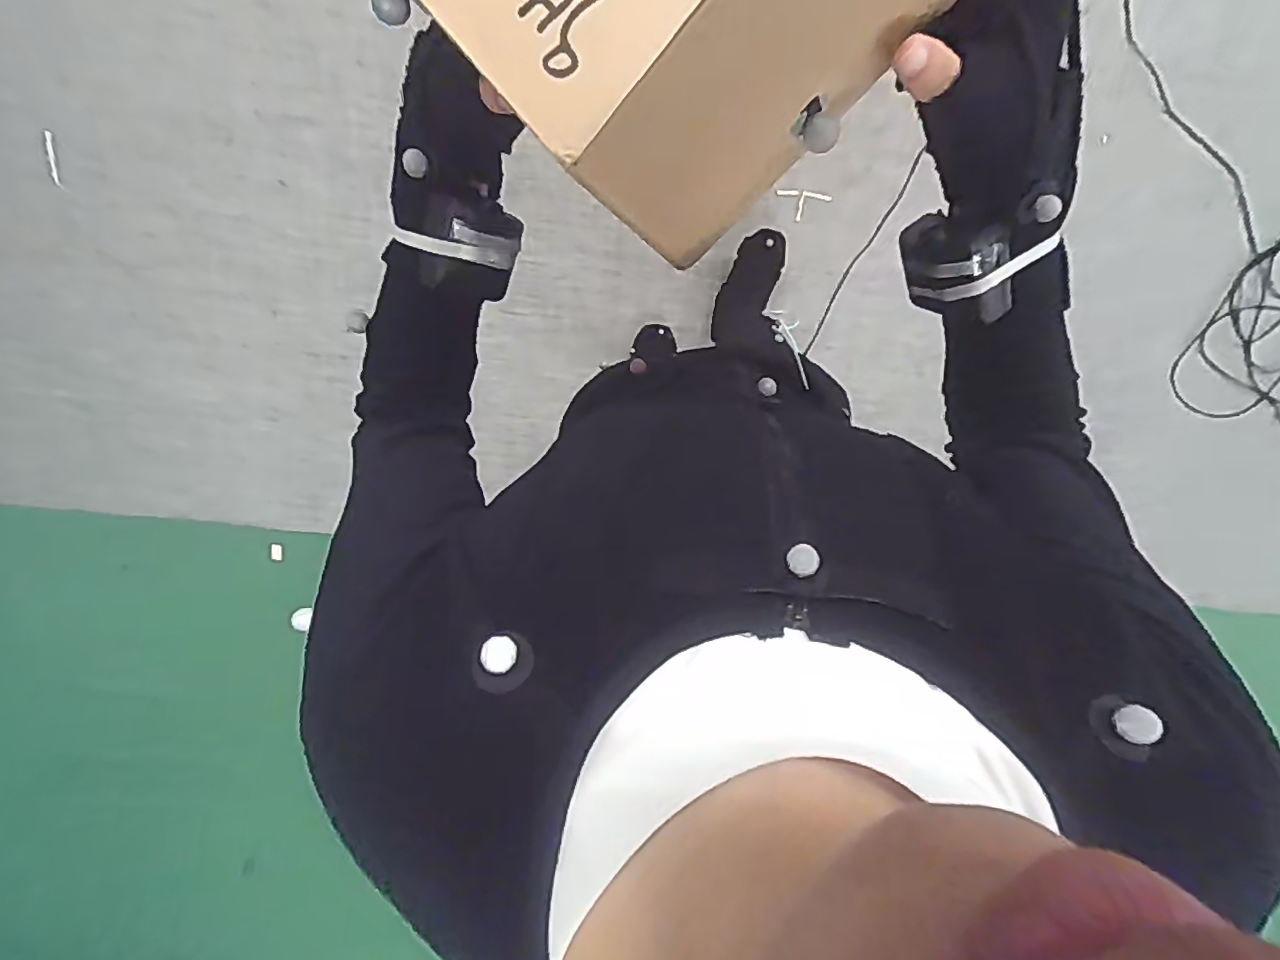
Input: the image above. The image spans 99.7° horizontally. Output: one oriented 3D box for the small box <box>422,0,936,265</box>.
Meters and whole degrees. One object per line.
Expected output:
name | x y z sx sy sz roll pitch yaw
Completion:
small box | 0.012 -0.217 0.207 0.179 0.176 0.168 -41 87 19
